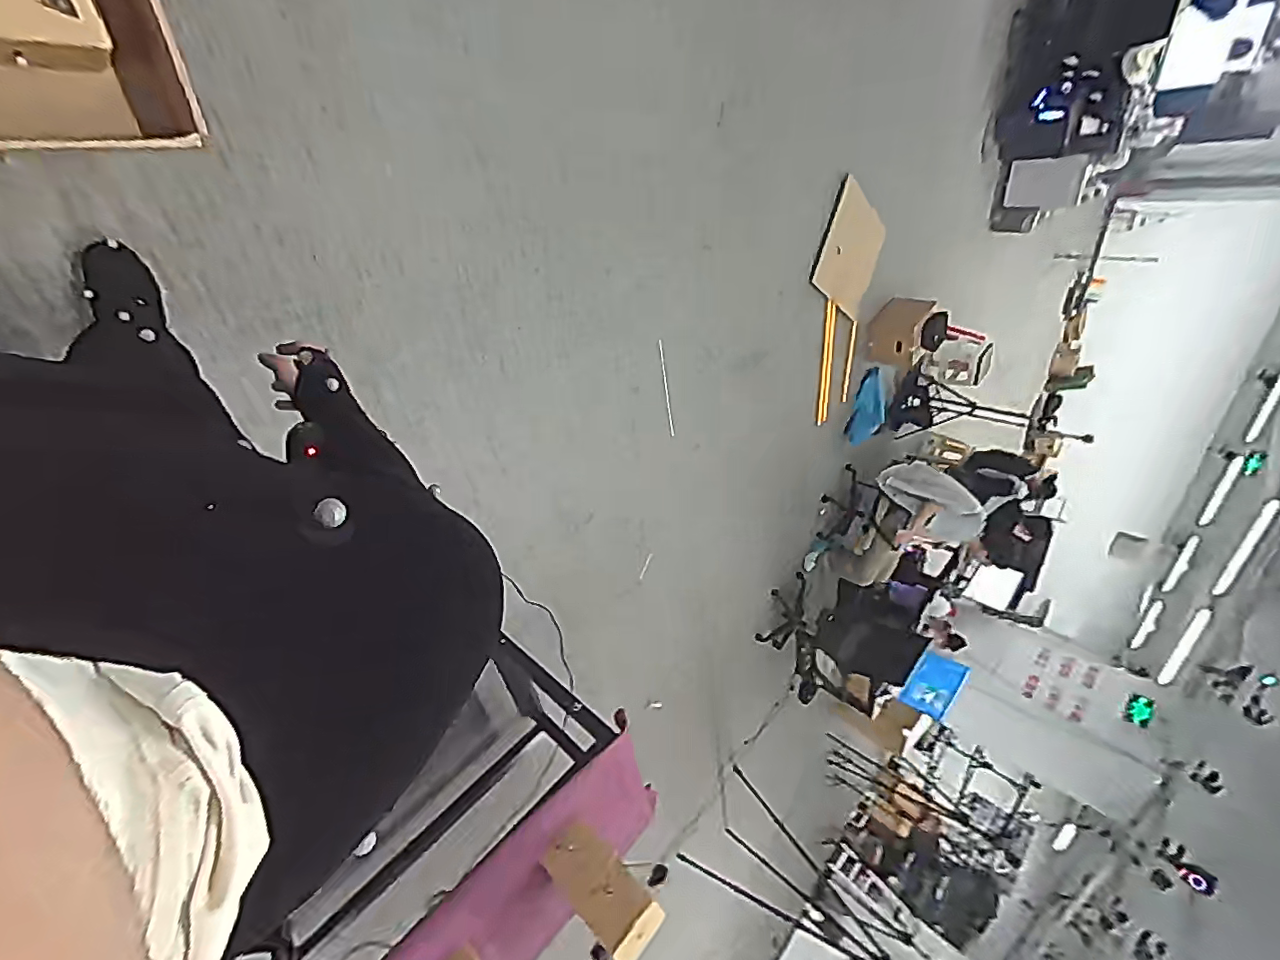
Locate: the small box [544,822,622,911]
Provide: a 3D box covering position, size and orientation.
[{"bbox_3d":[-0.161,1.179,1.625,0.168,0.176,0.179,-39,132,-30],"label":"small box"}]

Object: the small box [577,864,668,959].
[{"bbox_3d":[-0.048,1.232,1.521,0.168,0.176,0.179,-40,132,-27],"label":"small box"}]
